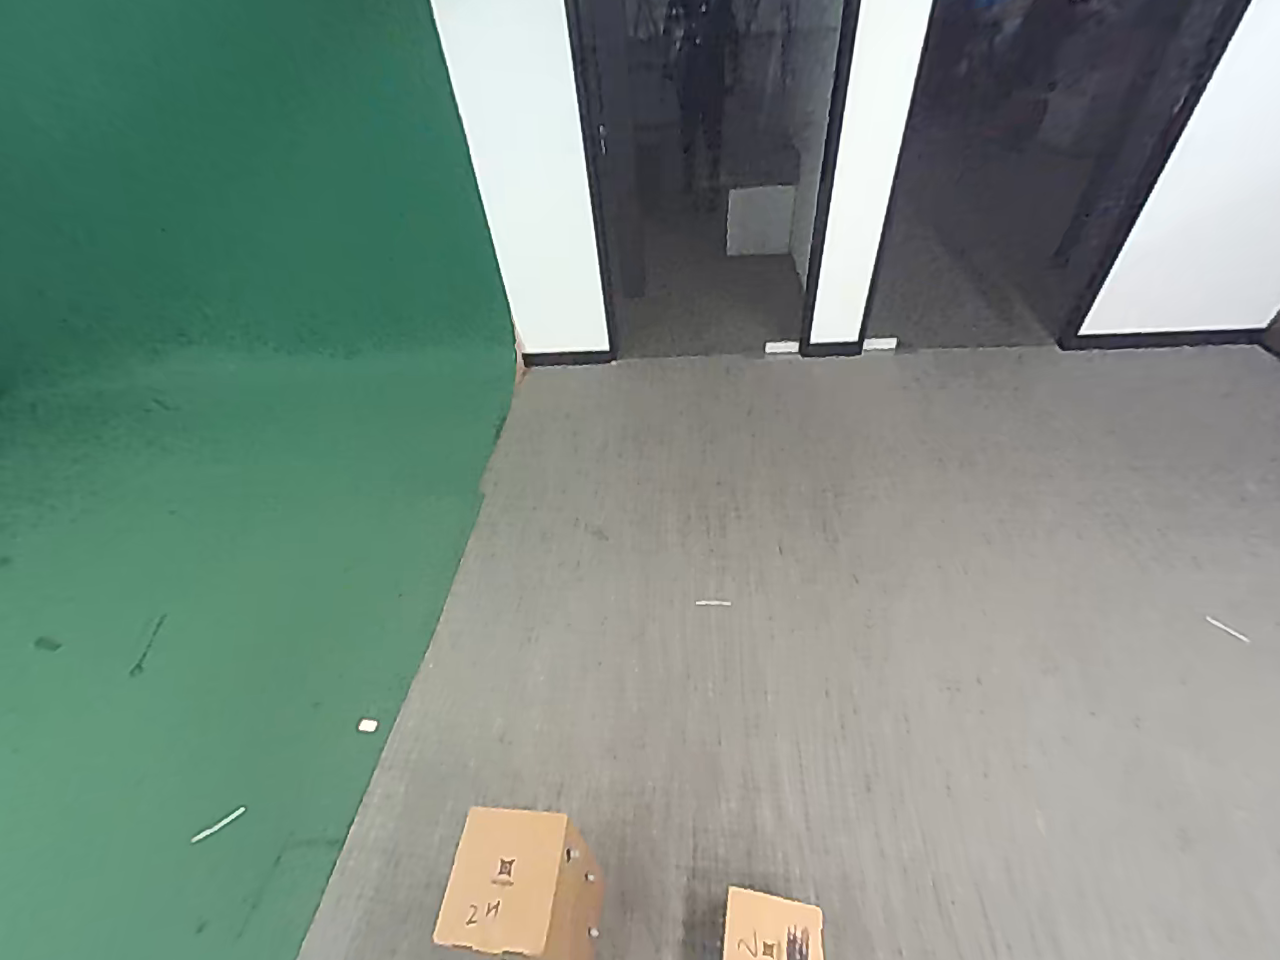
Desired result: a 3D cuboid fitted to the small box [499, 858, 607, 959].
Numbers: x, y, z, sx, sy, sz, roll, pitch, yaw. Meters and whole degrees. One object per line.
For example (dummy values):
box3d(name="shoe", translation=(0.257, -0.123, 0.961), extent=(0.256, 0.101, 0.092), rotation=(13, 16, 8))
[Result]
box3d(name="small box", translation=(-0.168, 0.870, 1.094), extent=(0.168, 0.176, 0.179), rotation=(3, 45, 10))

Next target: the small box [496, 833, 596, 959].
box3d(name="small box", translation=(-0.179, 0.755, 0.980), extent=(0.168, 0.176, 0.179), rotation=(0, 45, 8))

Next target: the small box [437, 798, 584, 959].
box3d(name="small box", translation=(-0.192, 0.638, 0.864), extent=(0.168, 0.176, 0.179), rotation=(0, 44, 9))
